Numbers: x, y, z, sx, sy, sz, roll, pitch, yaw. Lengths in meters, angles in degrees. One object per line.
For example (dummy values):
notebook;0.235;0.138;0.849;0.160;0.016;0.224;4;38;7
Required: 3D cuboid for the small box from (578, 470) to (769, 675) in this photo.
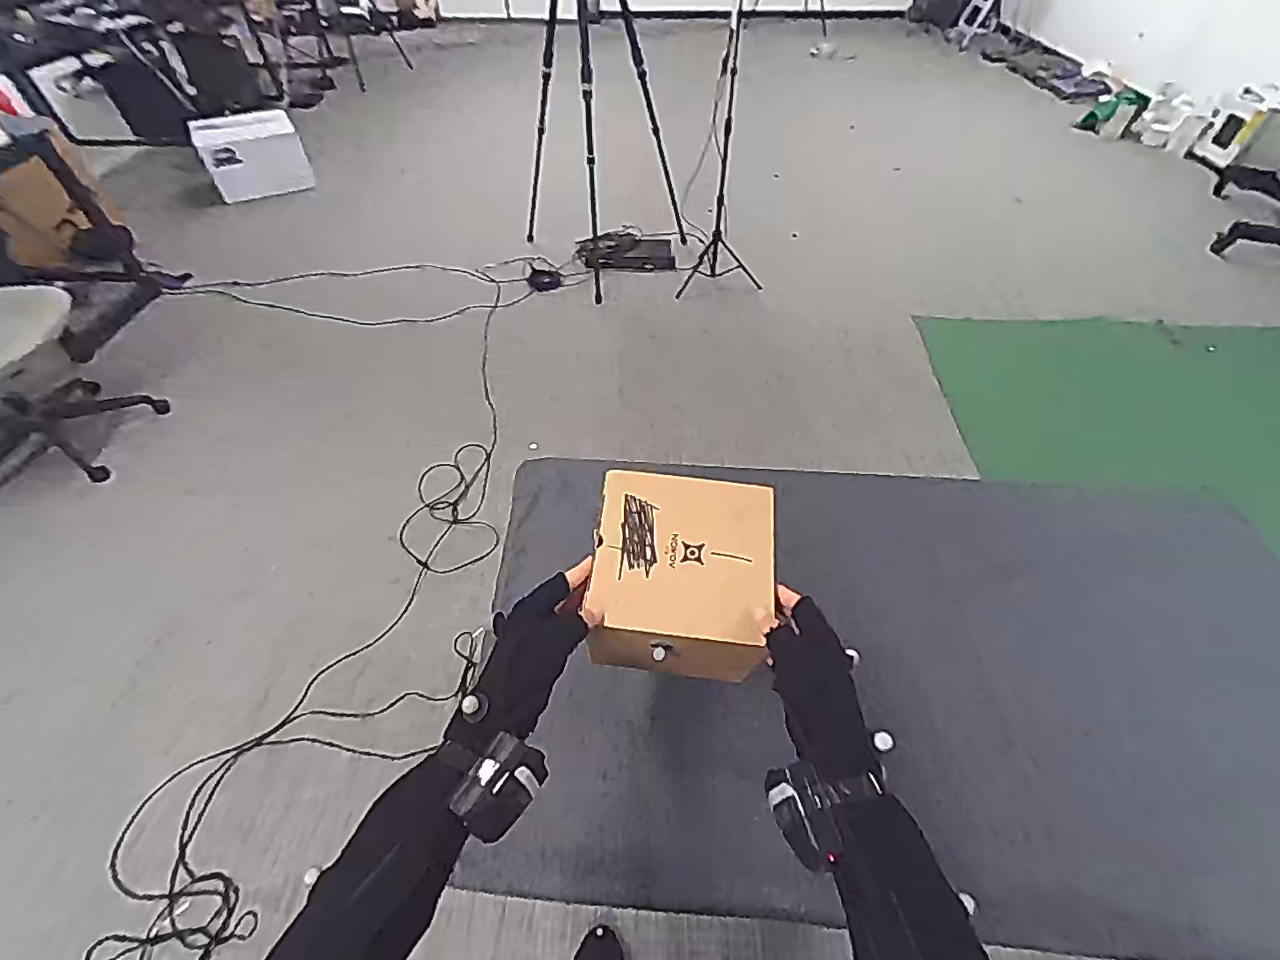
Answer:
small box;0.038;0.109;0.597;0.179;0.176;0.168;7;60;2
